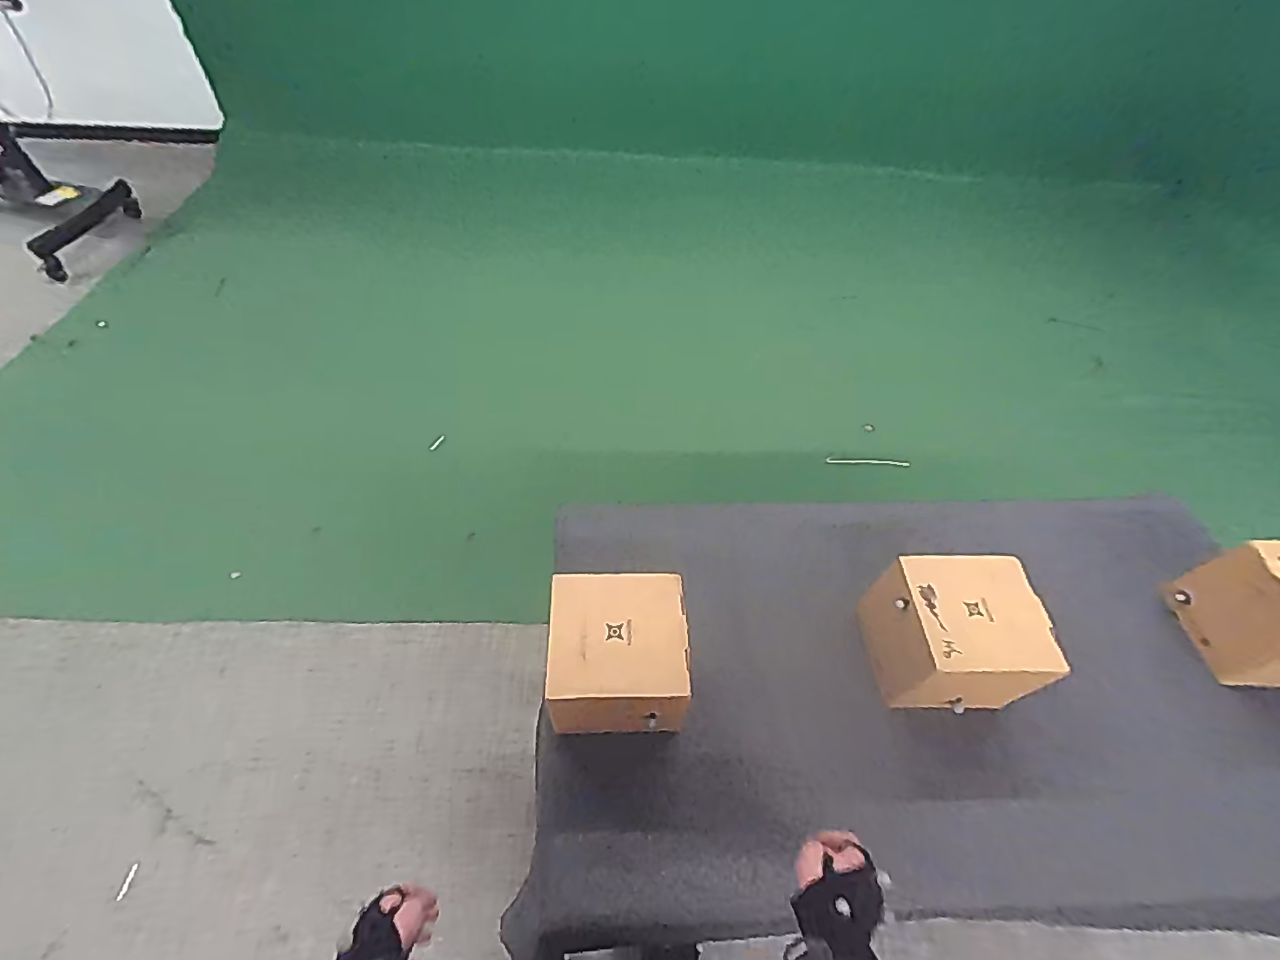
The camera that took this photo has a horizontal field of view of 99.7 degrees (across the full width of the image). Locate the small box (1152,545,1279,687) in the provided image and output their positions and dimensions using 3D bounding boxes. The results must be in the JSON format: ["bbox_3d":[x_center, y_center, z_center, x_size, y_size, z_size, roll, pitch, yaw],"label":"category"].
[{"bbox_3d":[0.982,0.219,0.858,0.179,0.176,0.168,4,52,-4],"label":"small box"}]

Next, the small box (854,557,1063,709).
[{"bbox_3d":[0.447,0.228,0.793,0.179,0.176,0.168,3,52,-5],"label":"small box"}]

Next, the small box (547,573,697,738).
[{"bbox_3d":[-0.030,0.239,0.730,0.179,0.176,0.168,0,51,-5],"label":"small box"}]
